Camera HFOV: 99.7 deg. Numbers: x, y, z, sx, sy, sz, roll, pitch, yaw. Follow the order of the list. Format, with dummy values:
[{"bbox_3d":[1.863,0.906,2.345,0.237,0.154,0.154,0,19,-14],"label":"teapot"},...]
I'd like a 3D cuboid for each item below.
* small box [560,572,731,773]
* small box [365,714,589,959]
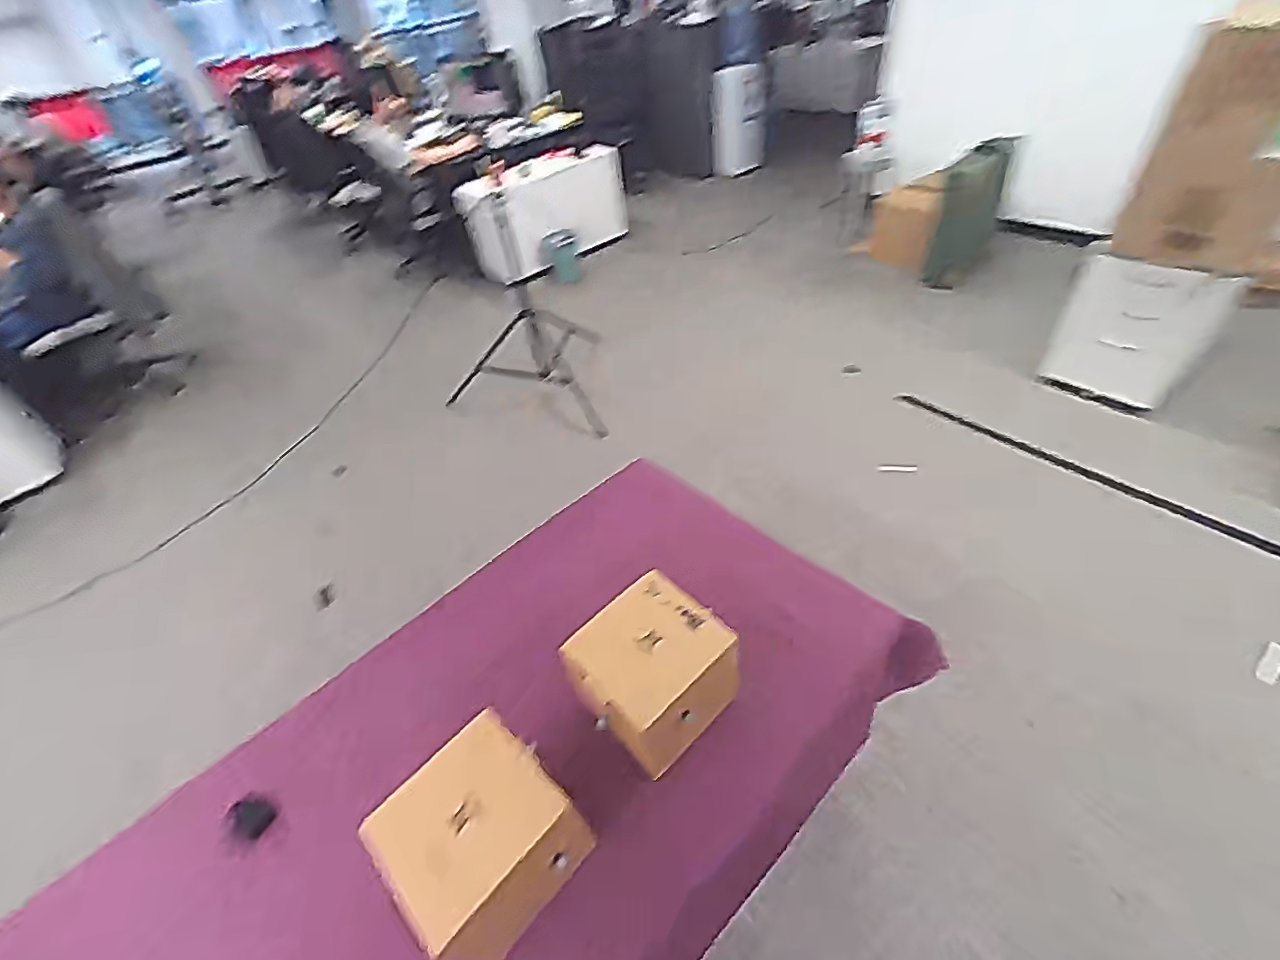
[{"bbox_3d":[0.018,0.274,0.770,0.179,0.176,0.168,-37,50,-25],"label":"small box"},{"bbox_3d":[-0.178,0.429,0.646,0.168,0.176,0.179,27,55,35],"label":"small box"}]
